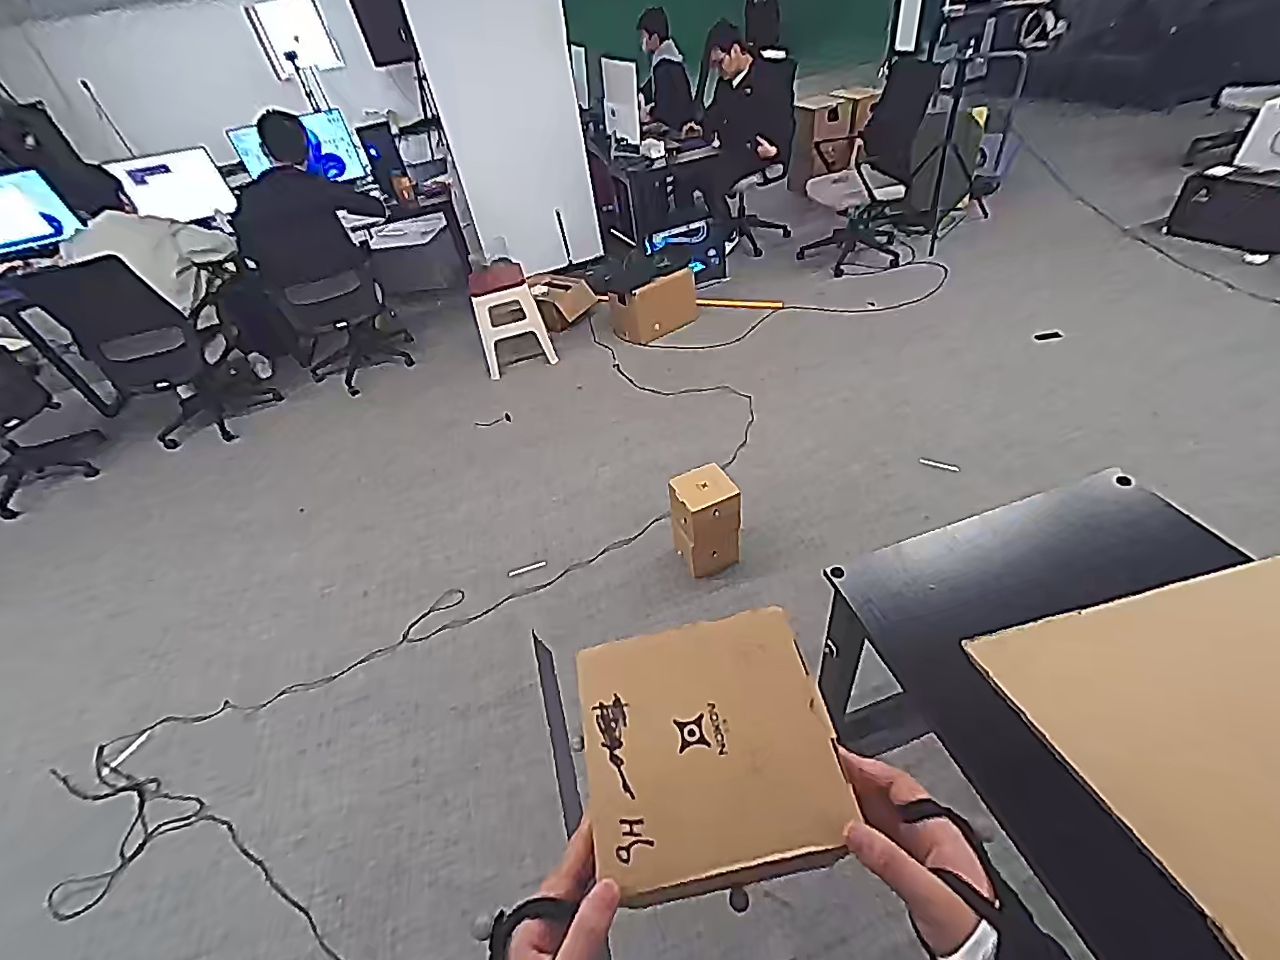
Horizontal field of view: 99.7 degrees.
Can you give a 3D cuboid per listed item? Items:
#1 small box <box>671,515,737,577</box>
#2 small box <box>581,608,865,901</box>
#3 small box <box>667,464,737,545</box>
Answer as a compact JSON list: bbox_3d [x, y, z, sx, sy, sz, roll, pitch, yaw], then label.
[{"bbox_3d":[0.221,0.204,1.872,0.179,0.176,0.168,-21,43,-10],"label":"small box"},{"bbox_3d":[0.056,0.233,0.455,0.179,0.176,0.168,-11,48,-2],"label":"small box"},{"bbox_3d":[0.205,0.084,1.763,0.179,0.176,0.168,-21,44,-13],"label":"small box"}]
